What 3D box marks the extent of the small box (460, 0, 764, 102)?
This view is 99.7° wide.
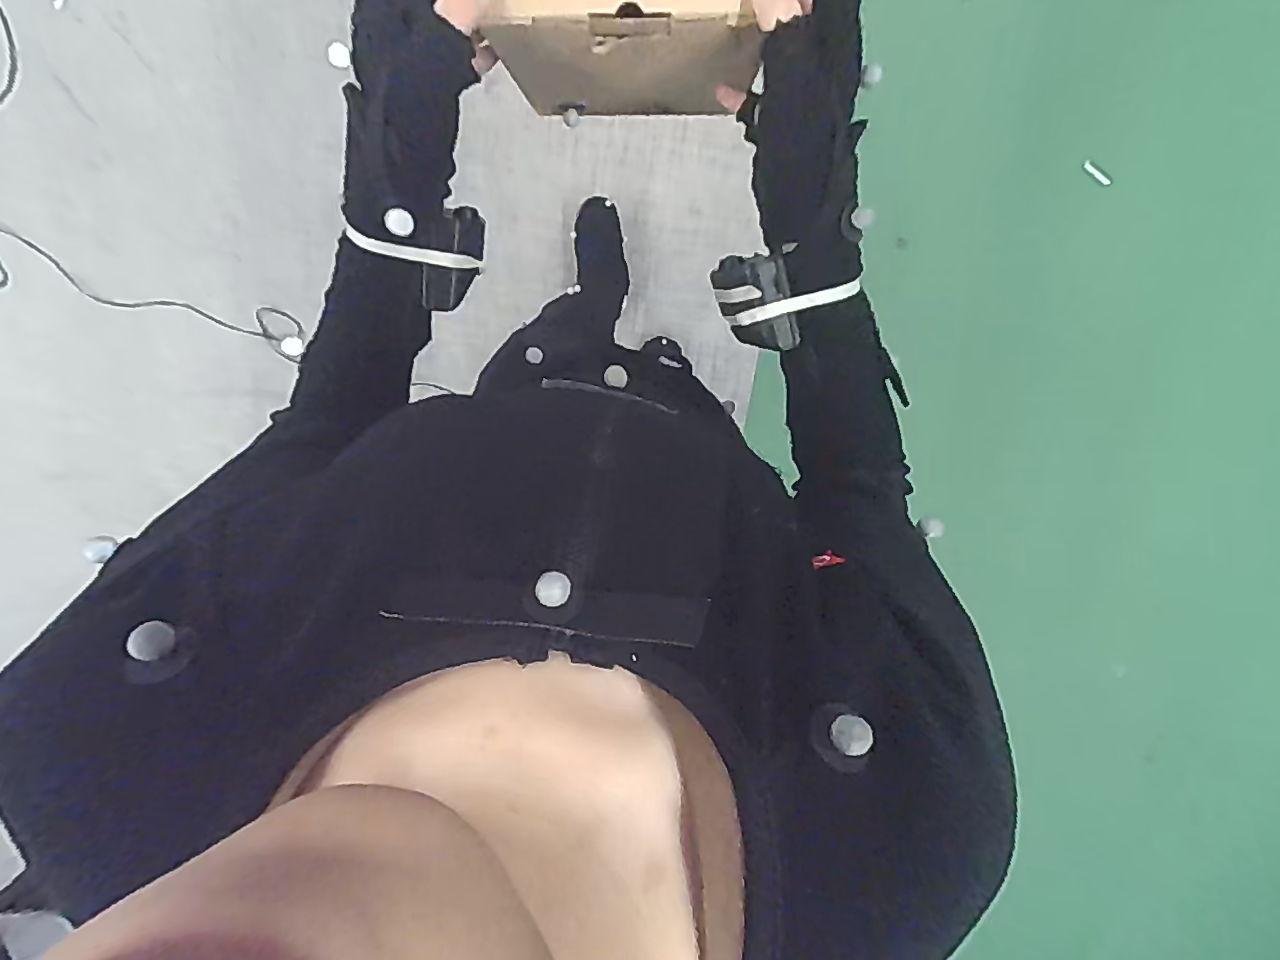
[{"bbox_3d":[-0.011,-0.354,0.330,0.168,0.176,0.179,1,109,1],"label":"small box"}]
